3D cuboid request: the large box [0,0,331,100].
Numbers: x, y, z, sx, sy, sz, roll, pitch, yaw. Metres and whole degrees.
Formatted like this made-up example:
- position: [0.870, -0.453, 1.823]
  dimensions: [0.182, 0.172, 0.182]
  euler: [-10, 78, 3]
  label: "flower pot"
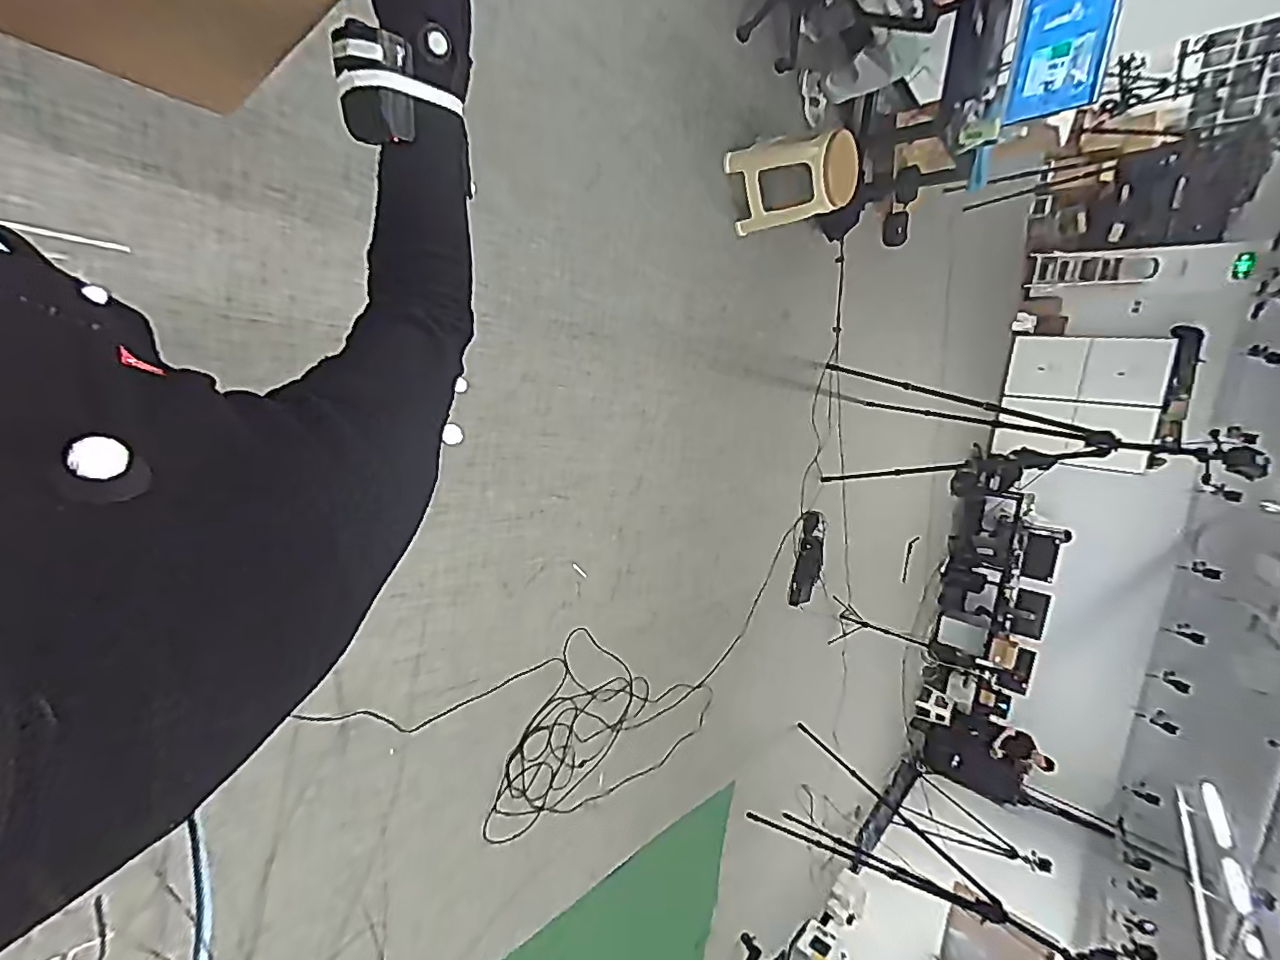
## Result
- position: [-0.413, -0.484, 0.274]
  dimensions: [0.408, 0.320, 0.320]
  euler: [-4, 105, -49]
  label: "large box"
